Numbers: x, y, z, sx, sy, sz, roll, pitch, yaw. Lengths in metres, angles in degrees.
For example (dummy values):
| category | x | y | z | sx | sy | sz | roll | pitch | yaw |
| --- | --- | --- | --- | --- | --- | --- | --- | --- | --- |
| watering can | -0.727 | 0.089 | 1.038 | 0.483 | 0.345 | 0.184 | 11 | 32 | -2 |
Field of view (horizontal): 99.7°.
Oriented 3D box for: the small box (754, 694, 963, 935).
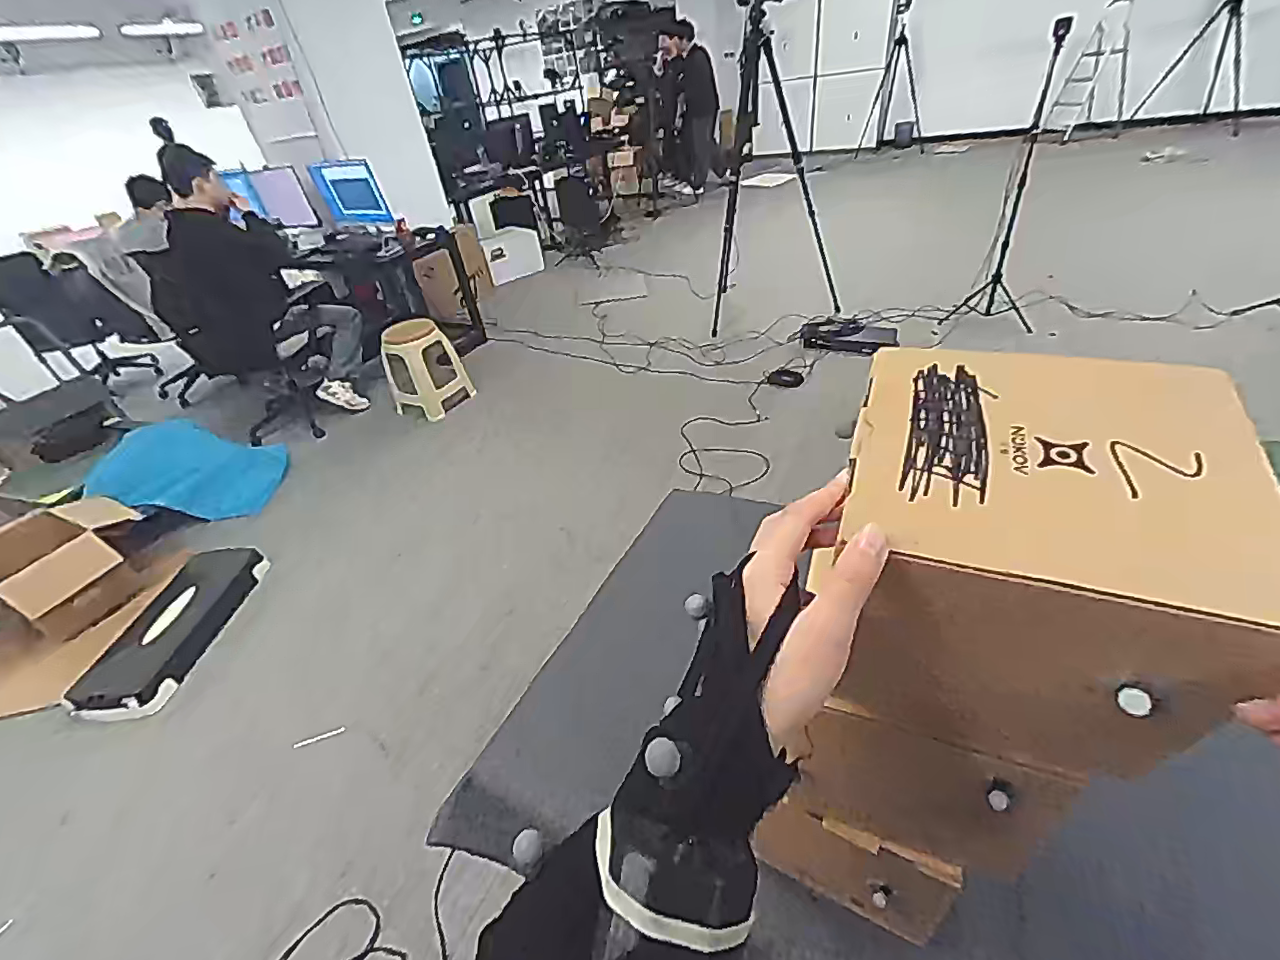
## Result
| category | x | y | z | sx | sy | sz | roll | pitch | yaw |
| --- | --- | --- | --- | --- | --- | --- | --- | --- | --- |
| small box | 0.223 | 0.302 | 0.545 | 0.168 | 0.176 | 0.179 | 14 | 41 | 27 |

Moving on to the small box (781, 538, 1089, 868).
| category | x | y | z | sx | sy | sz | roll | pitch | yaw |
| --- | --- | --- | --- | --- | --- | --- | --- | --- | --- |
| small box | 0.218 | 0.176 | 0.443 | 0.179 | 0.176 | 0.168 | 9 | 41 | 21 |
